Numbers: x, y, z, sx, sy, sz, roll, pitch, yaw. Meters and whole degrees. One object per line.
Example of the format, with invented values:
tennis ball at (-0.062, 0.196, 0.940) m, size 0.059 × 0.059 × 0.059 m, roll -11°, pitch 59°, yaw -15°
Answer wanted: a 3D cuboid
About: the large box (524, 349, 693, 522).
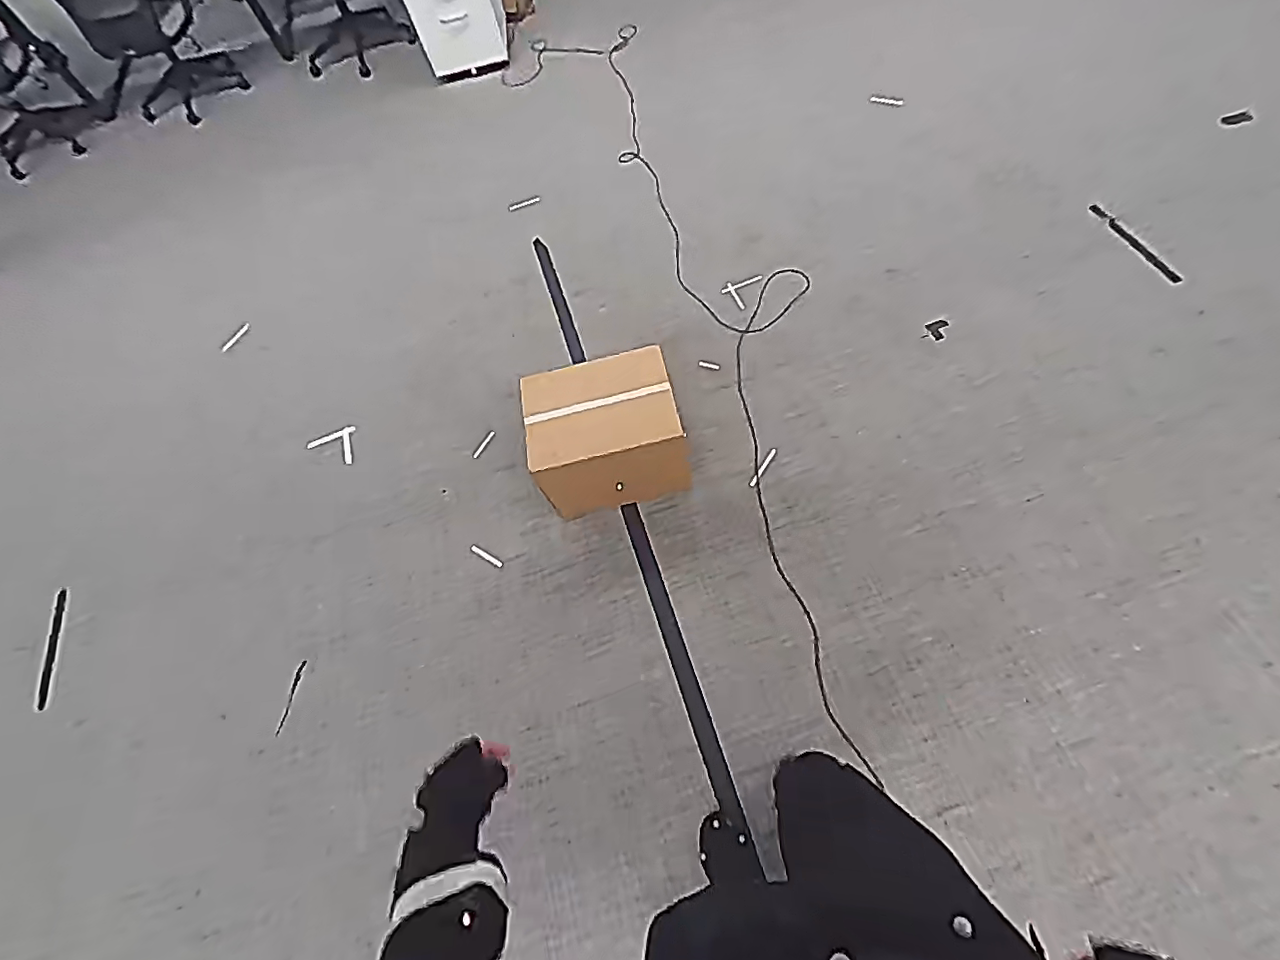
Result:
large box at (-0.084, -0.115, 1.557) m, size 0.408 × 0.320 × 0.320 m, roll -14°, pitch 62°, yaw 2°
